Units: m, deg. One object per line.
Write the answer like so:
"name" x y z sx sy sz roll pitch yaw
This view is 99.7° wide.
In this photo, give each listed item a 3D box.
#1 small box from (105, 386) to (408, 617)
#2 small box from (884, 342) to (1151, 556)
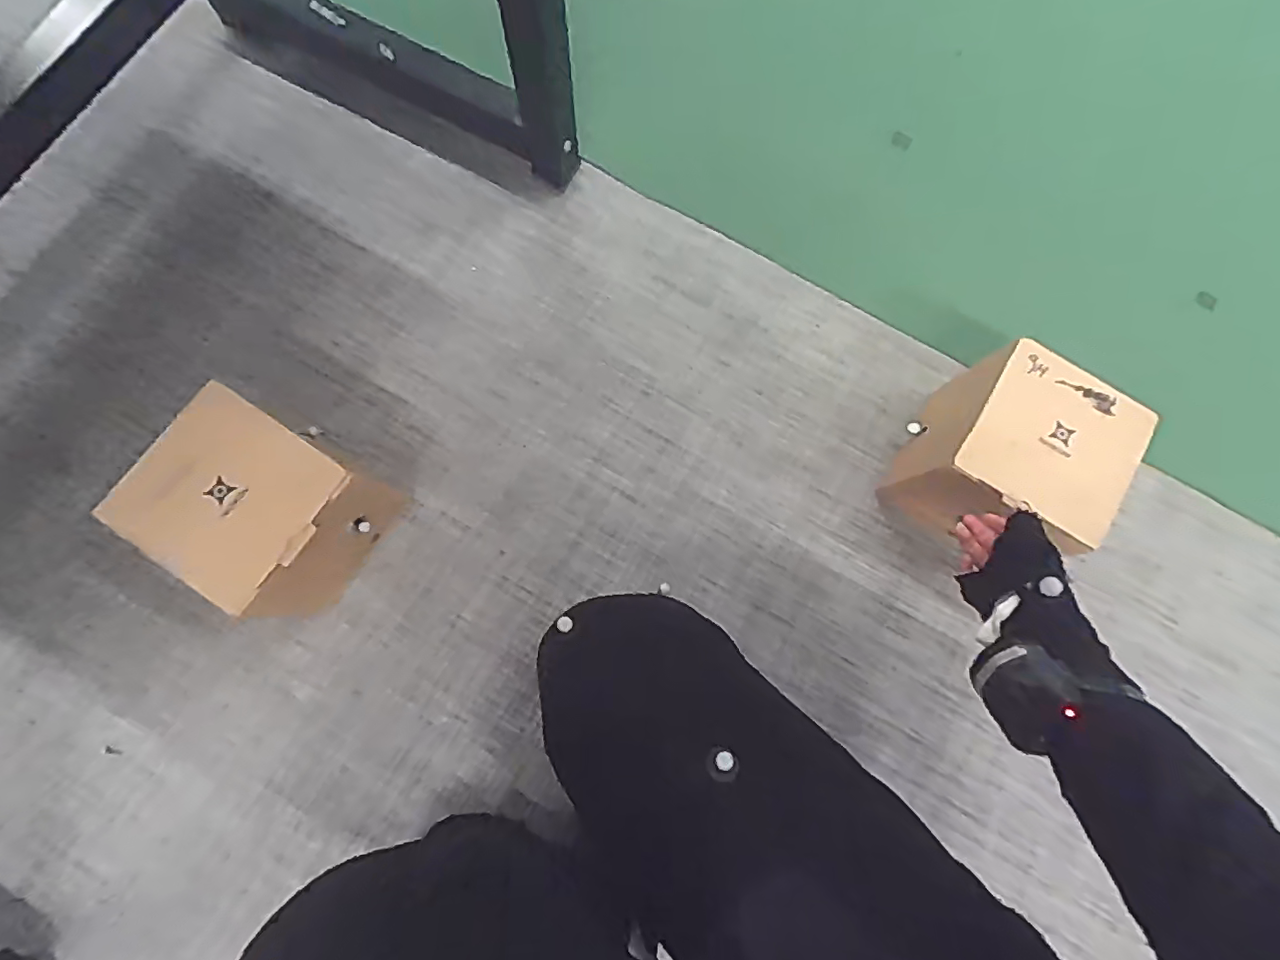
"small box" -0.397 0.031 0.599 0.179 0.176 0.168 33 79 6
"small box" 0.423 -0.022 0.642 0.168 0.176 0.179 34 81 4
